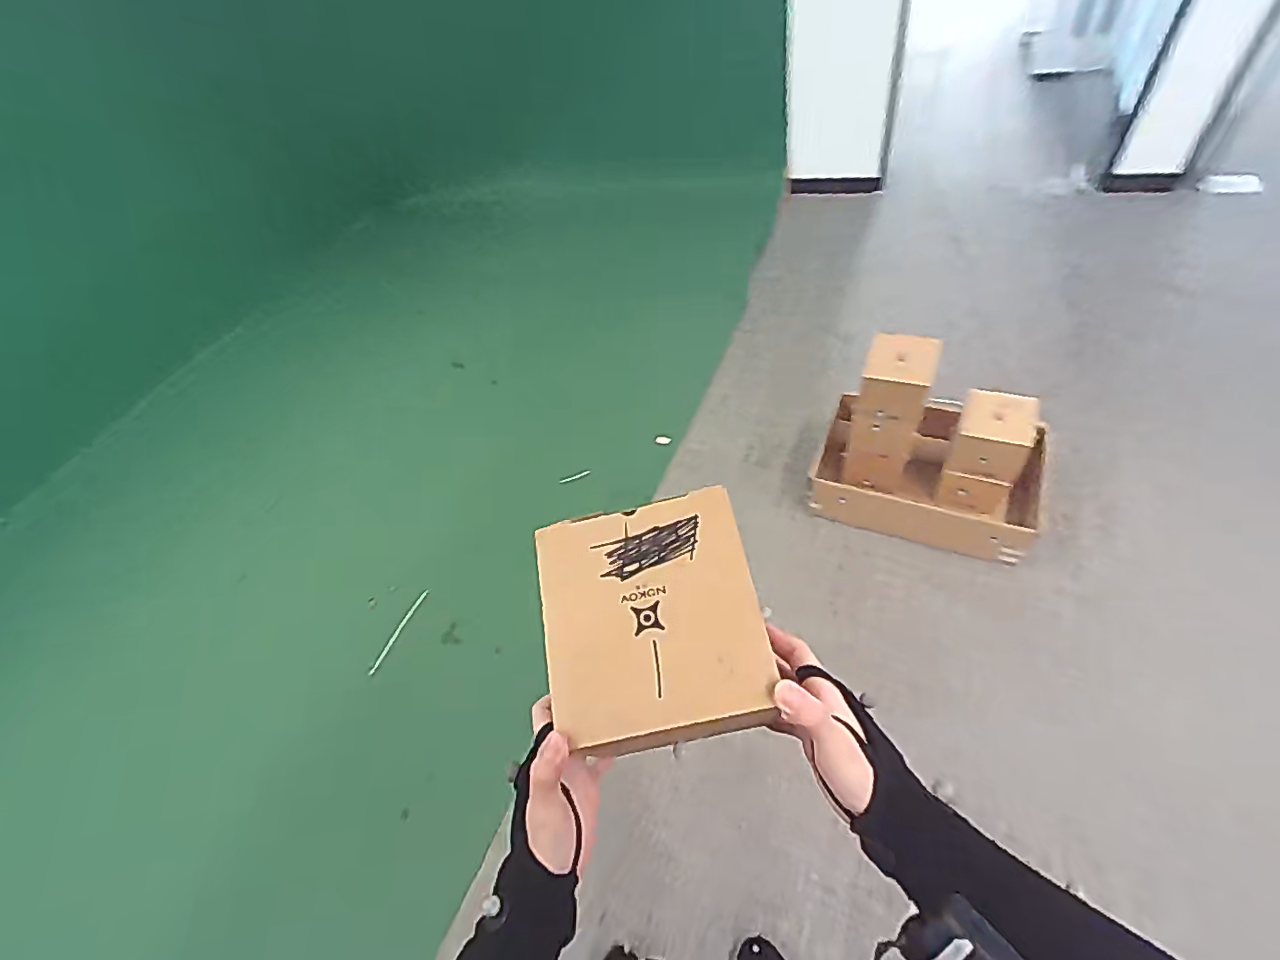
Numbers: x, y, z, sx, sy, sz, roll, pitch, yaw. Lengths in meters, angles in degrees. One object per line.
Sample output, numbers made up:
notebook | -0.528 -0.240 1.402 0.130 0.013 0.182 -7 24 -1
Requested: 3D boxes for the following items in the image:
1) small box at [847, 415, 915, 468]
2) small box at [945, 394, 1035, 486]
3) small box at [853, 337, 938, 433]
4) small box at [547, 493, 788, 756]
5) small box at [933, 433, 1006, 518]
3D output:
small box | 0.721 -0.166 1.604 0.168 0.176 0.179 14 59 23
small box | 0.965 -0.108 1.501 0.168 0.176 0.179 16 59 25
small box | 0.690 -0.259 1.473 0.168 0.176 0.179 15 60 23
small box | 0.024 0.138 0.484 0.168 0.176 0.179 -13 61 5
small box | 0.998 -0.010 1.629 0.168 0.176 0.179 15 59 25
